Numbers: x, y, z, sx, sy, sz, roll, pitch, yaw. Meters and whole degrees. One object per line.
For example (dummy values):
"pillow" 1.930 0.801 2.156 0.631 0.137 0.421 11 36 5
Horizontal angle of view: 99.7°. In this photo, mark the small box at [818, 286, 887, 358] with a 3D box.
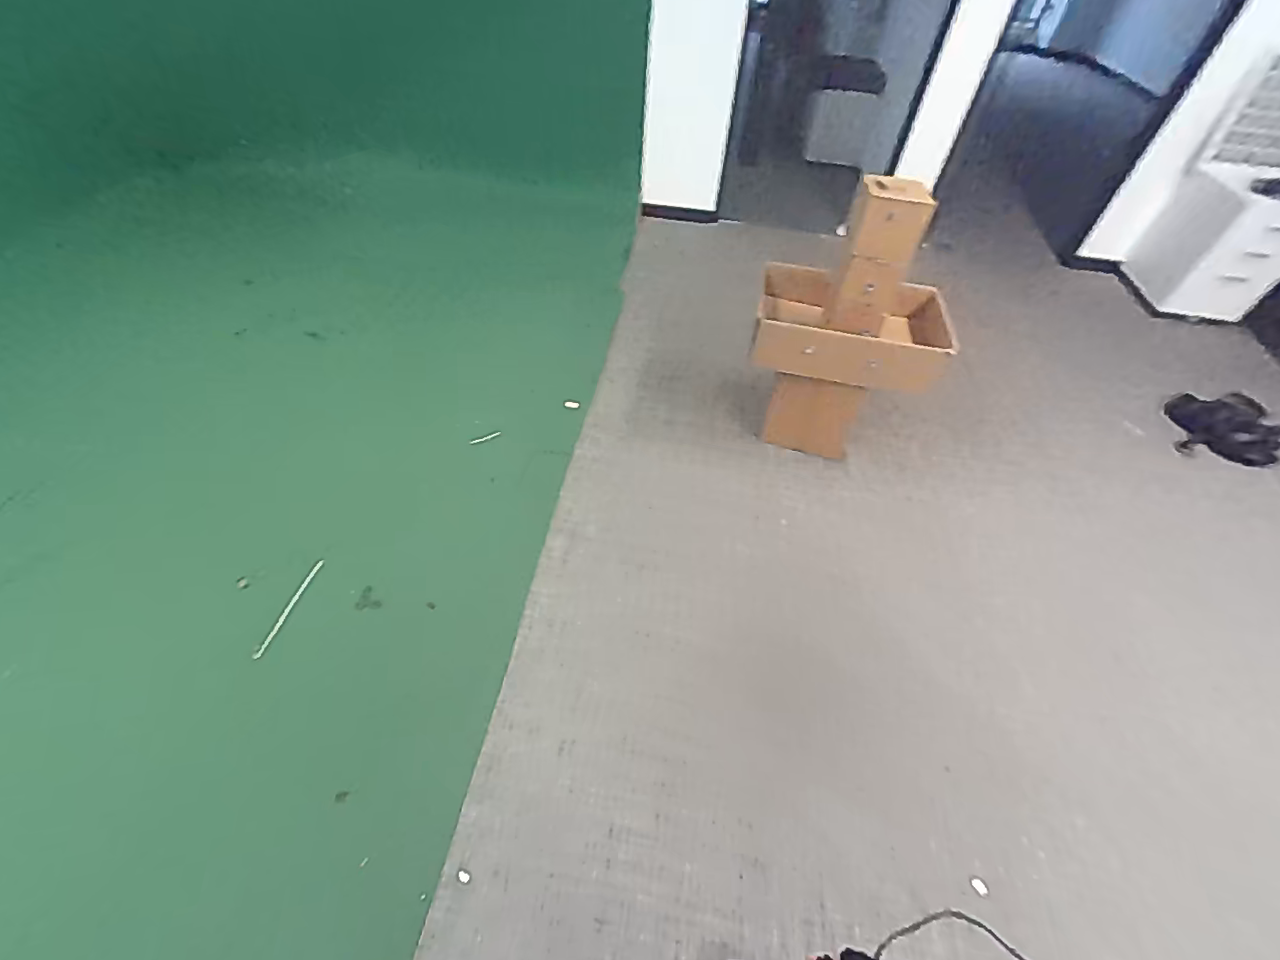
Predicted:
"small box" 0.711 -0.536 1.828 0.168 0.176 0.179 9 47 2

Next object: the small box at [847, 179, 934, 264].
"small box" 0.720 -0.754 1.582 0.179 0.176 0.168 9 49 1

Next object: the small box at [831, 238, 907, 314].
"small box" 0.716 -0.646 1.707 0.168 0.176 0.179 10 49 2
